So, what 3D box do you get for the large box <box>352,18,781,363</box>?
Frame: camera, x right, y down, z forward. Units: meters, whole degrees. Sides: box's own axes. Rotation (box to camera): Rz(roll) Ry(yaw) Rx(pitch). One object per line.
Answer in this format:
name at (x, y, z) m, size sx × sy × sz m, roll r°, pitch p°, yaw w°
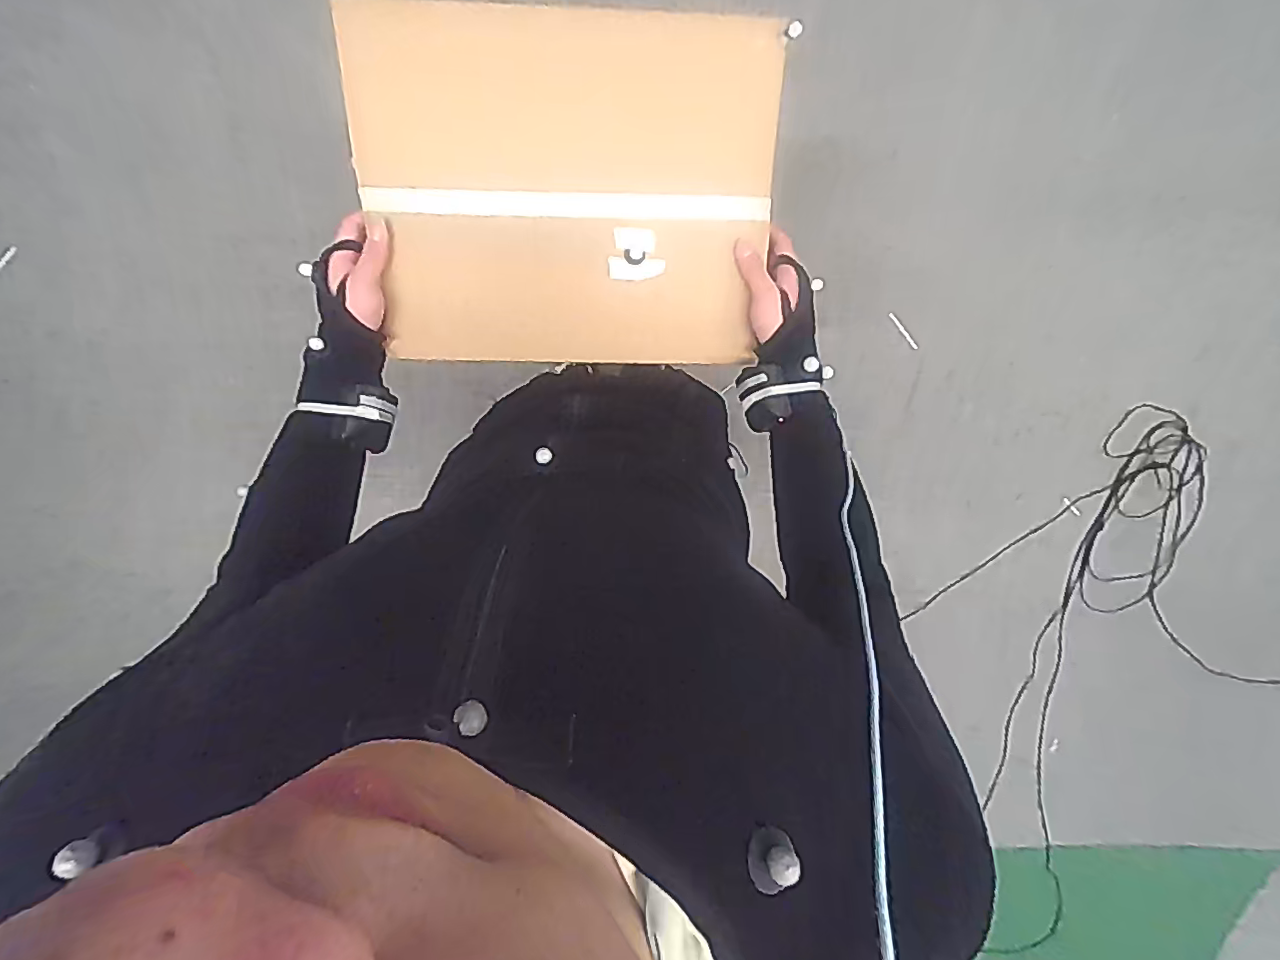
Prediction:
large box at (-0.075, -0.331, 0.691) m, size 0.408 × 0.320 × 0.320 m, roll 0°, pitch 113°, yaw -3°
